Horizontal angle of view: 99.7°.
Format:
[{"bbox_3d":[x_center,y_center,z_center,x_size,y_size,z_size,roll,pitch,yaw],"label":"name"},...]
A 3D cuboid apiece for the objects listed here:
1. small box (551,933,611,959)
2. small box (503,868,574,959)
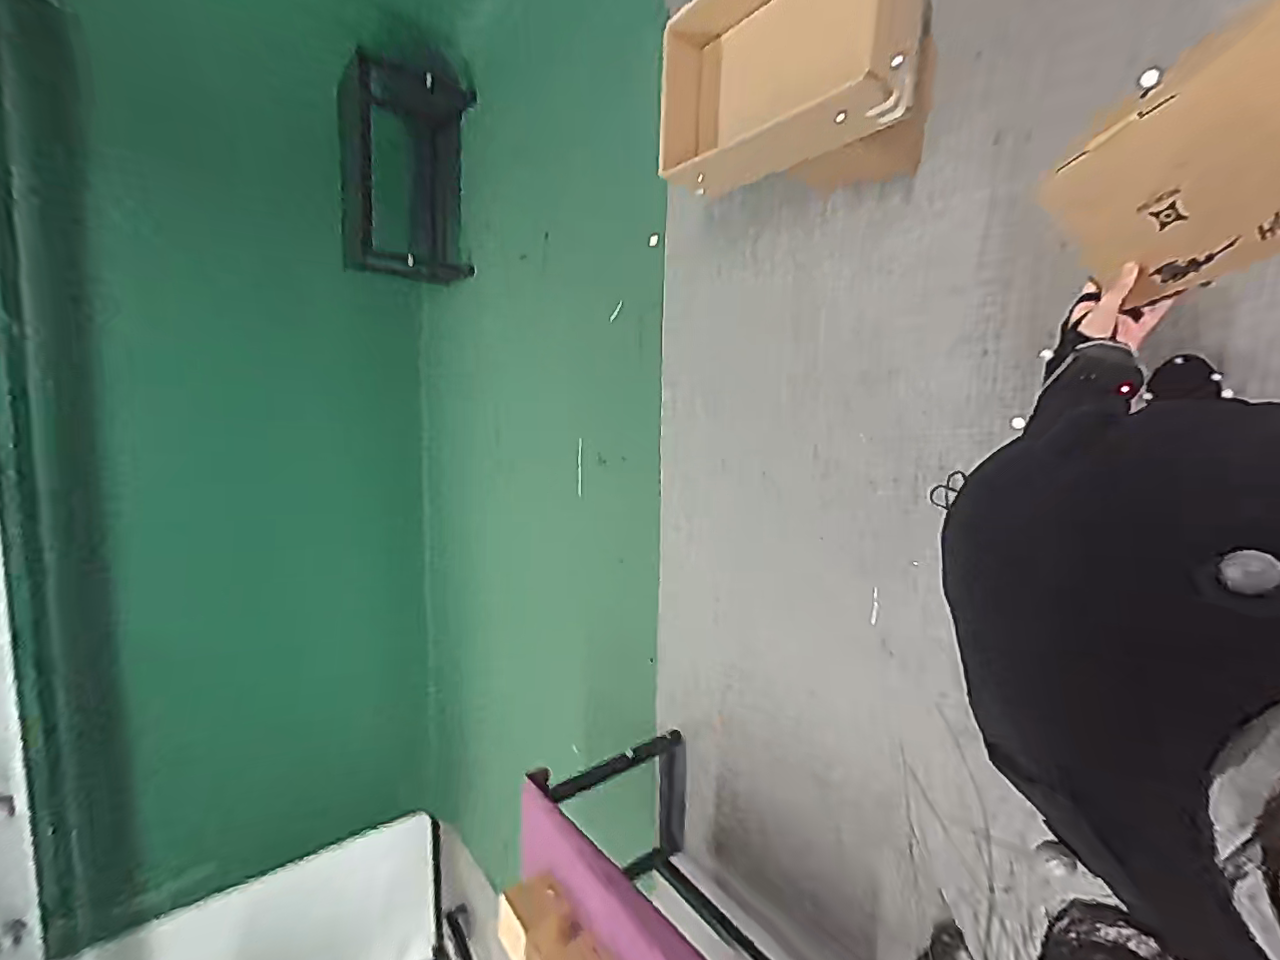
[{"bbox_3d":[-0.162,1.442,1.517,0.168,0.176,0.179,16,105,51],"label":"small box"},{"bbox_3d":[-0.322,1.399,1.718,0.168,0.176,0.179,18,106,49],"label":"small box"}]
